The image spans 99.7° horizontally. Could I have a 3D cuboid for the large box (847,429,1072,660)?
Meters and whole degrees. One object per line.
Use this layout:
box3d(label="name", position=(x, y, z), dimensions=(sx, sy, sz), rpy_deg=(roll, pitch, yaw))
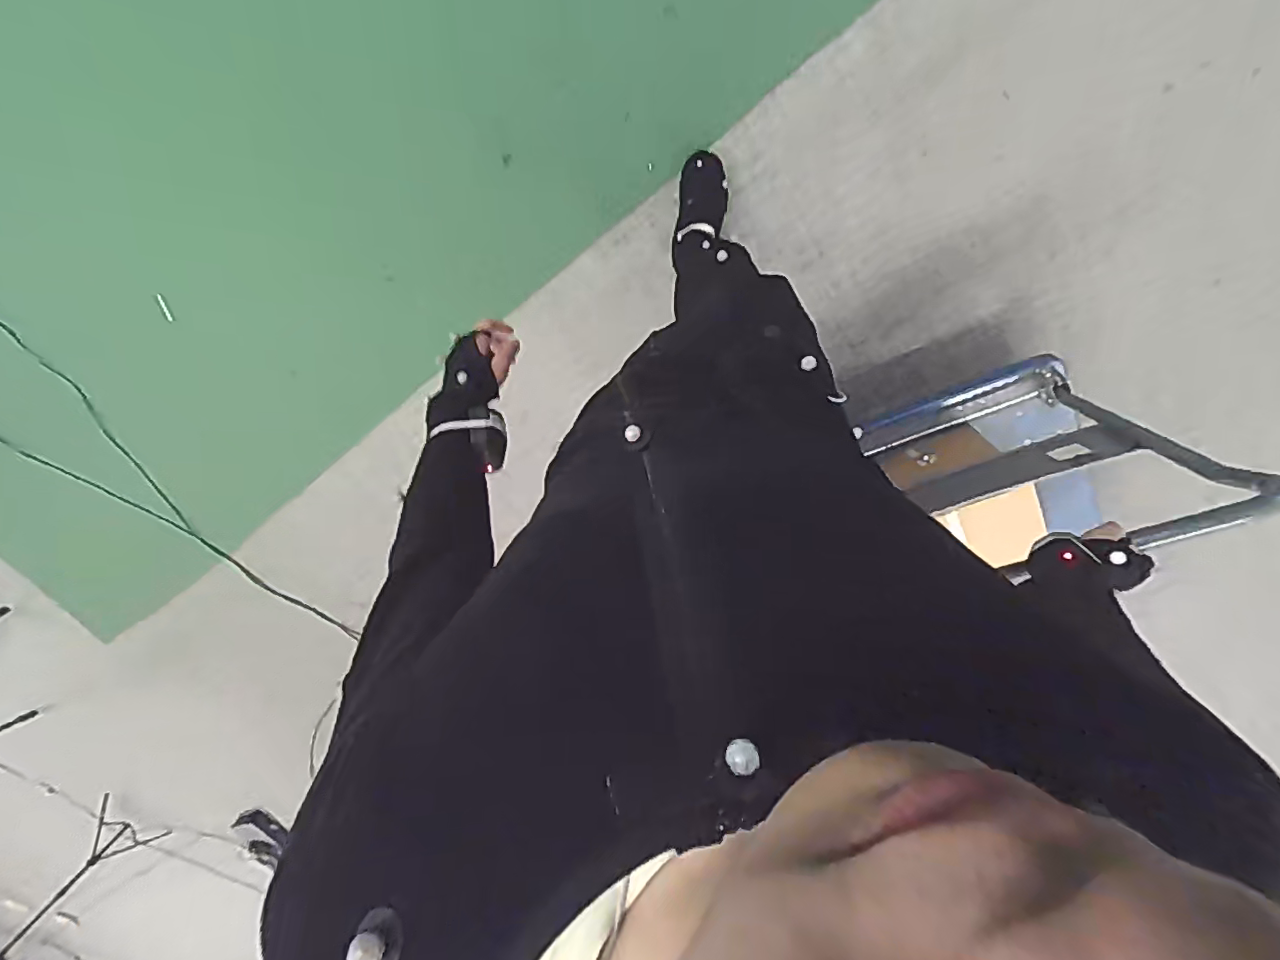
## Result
box3d(label="large box", position=(0.749, 0.150, 1.312), dimensions=(0.320, 0.320, 0.408), rpy_deg=(-23, 110, 20))
